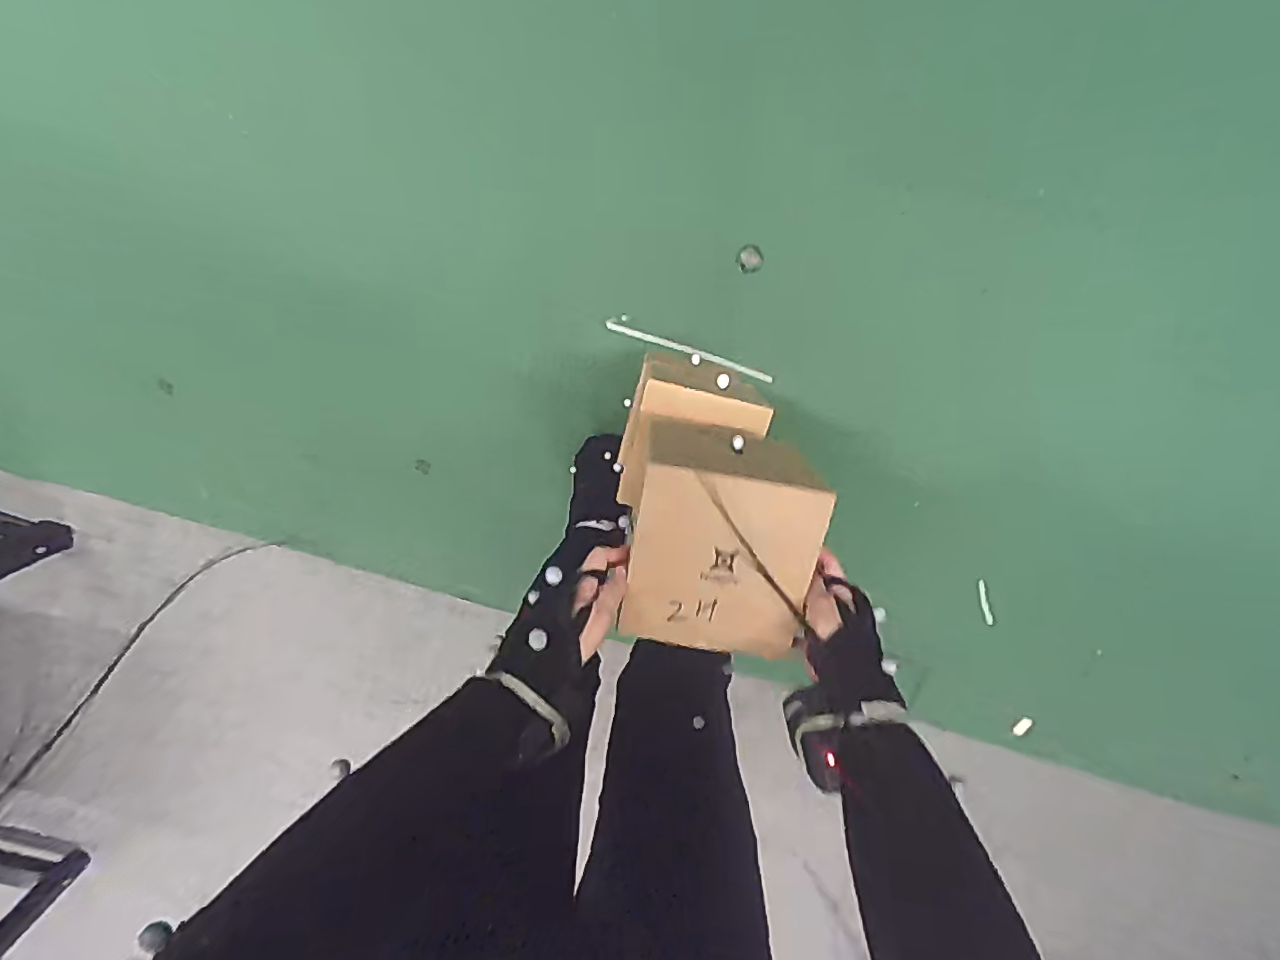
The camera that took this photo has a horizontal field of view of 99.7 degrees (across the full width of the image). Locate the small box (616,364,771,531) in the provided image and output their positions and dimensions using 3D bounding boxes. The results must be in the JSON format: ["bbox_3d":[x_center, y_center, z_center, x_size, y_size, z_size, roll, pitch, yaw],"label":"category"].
[{"bbox_3d":[0.067,-0.056,0.776,0.168,0.176,0.179,14,111,-4],"label":"small box"}]
